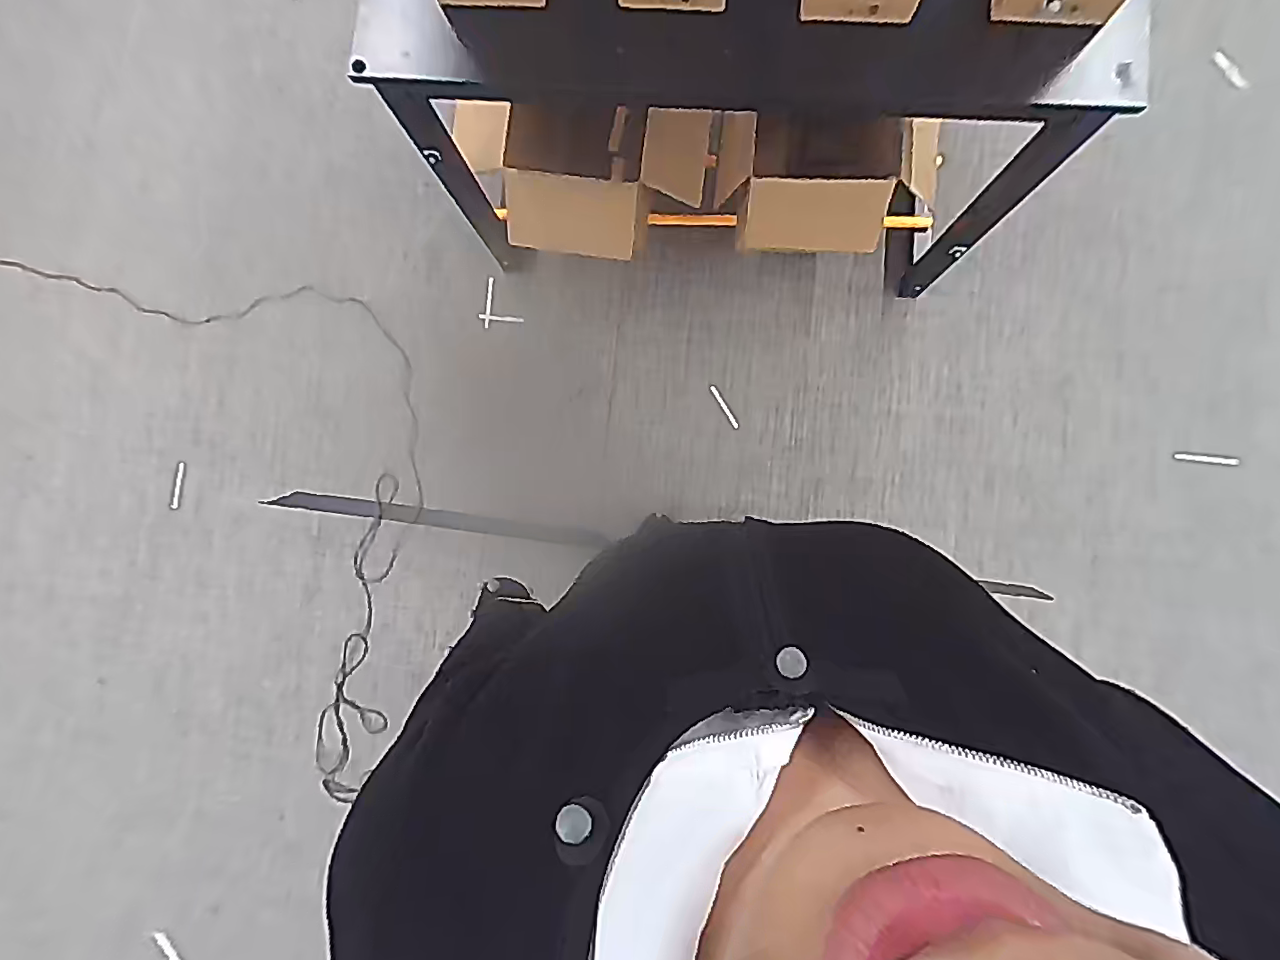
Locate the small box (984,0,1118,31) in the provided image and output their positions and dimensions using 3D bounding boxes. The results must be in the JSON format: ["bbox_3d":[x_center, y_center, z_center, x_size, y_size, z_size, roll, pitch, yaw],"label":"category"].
[{"bbox_3d":[0.596,-0.765,0.730,0.168,0.176,0.179,6,87,6],"label":"small box"}]

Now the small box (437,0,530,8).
[{"bbox_3d":[-0.238,-0.837,0.784,0.179,0.176,0.168,4,86,3],"label":"small box"}]

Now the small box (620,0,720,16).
[{"bbox_3d":[0.046,-0.820,0.768,0.168,0.176,0.179,6,87,4],"label":"small box"}]

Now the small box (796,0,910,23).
[{"bbox_3d":[0.319,-0.785,0.749,0.168,0.176,0.179,5,87,4],"label":"small box"}]
